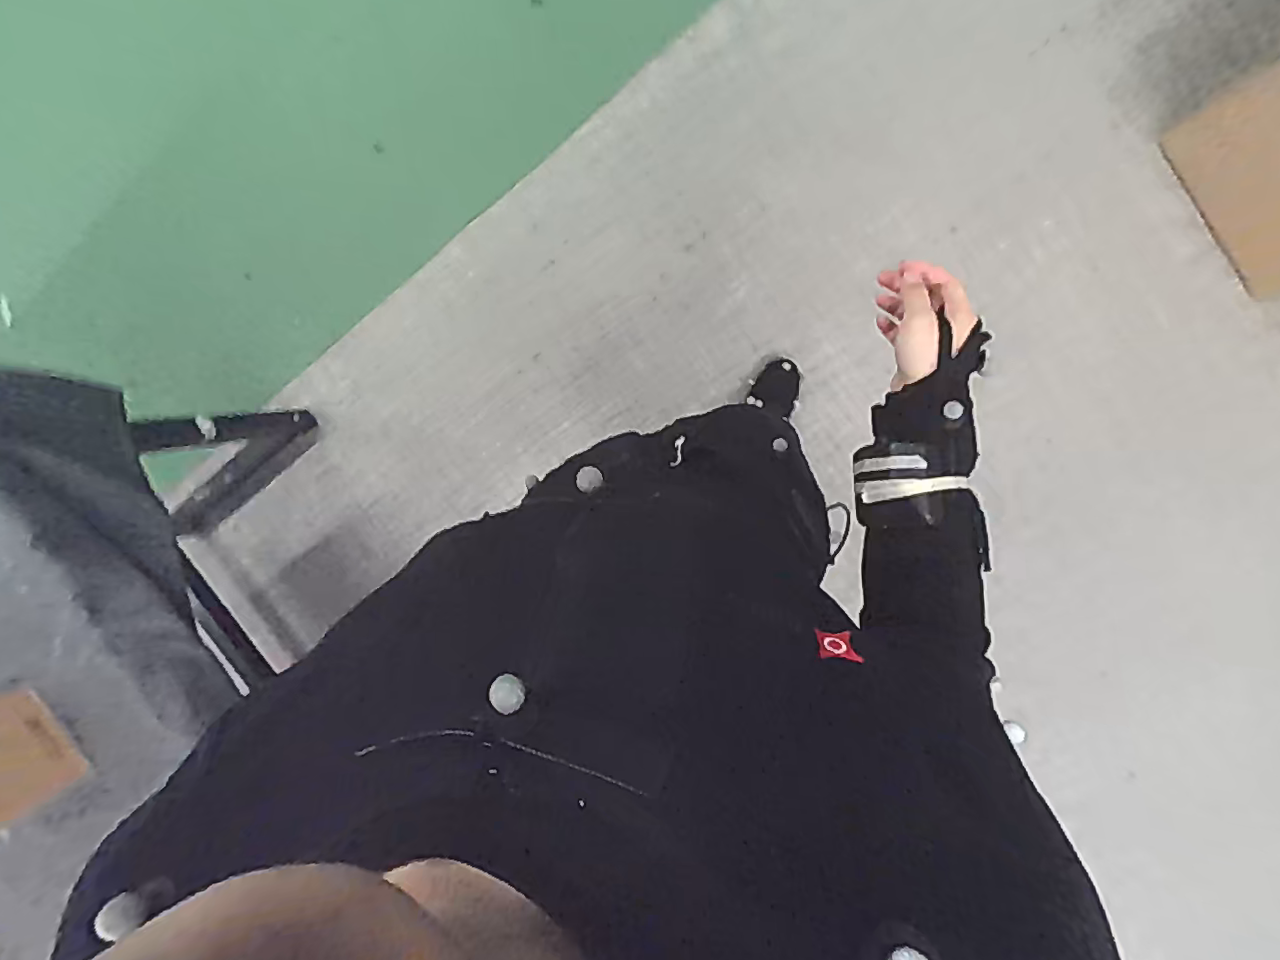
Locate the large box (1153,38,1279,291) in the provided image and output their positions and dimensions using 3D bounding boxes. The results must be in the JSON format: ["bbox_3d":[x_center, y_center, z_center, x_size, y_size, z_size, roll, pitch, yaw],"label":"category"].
[{"bbox_3d":[1.236,-0.598,0.918,0.320,0.320,0.408,-36,94,14],"label":"large box"}]

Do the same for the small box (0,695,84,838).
[{"bbox_3d":[-0.948,0.436,0.753,0.179,0.176,0.168,-32,93,14],"label":"small box"}]
